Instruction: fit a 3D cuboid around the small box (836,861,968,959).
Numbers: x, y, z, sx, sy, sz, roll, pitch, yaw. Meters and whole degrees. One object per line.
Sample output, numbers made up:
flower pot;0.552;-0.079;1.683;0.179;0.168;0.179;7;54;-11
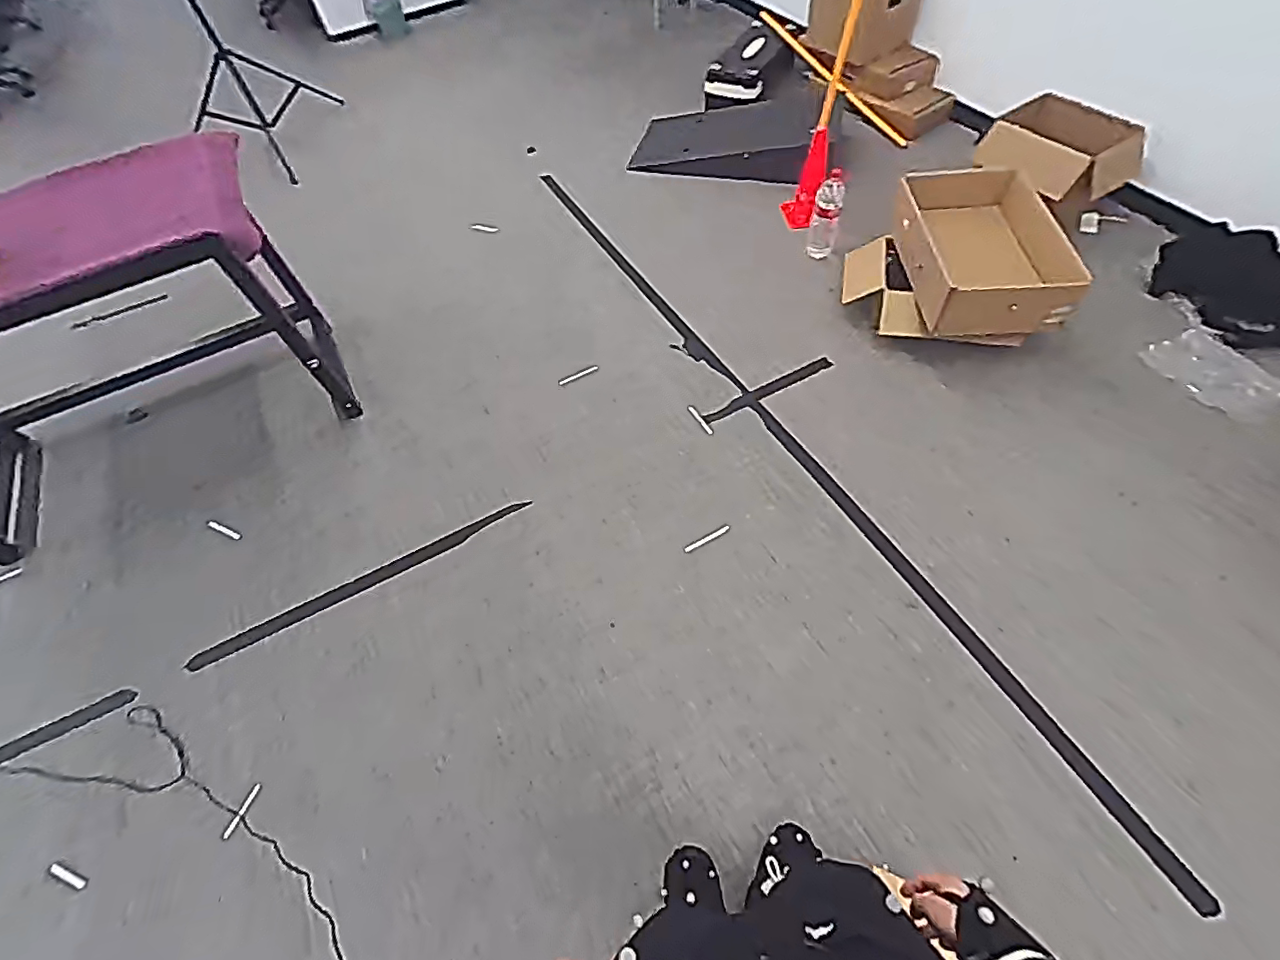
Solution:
small box;0.499;0.871;1.049;0.179;0.176;0.168;19;63;15
